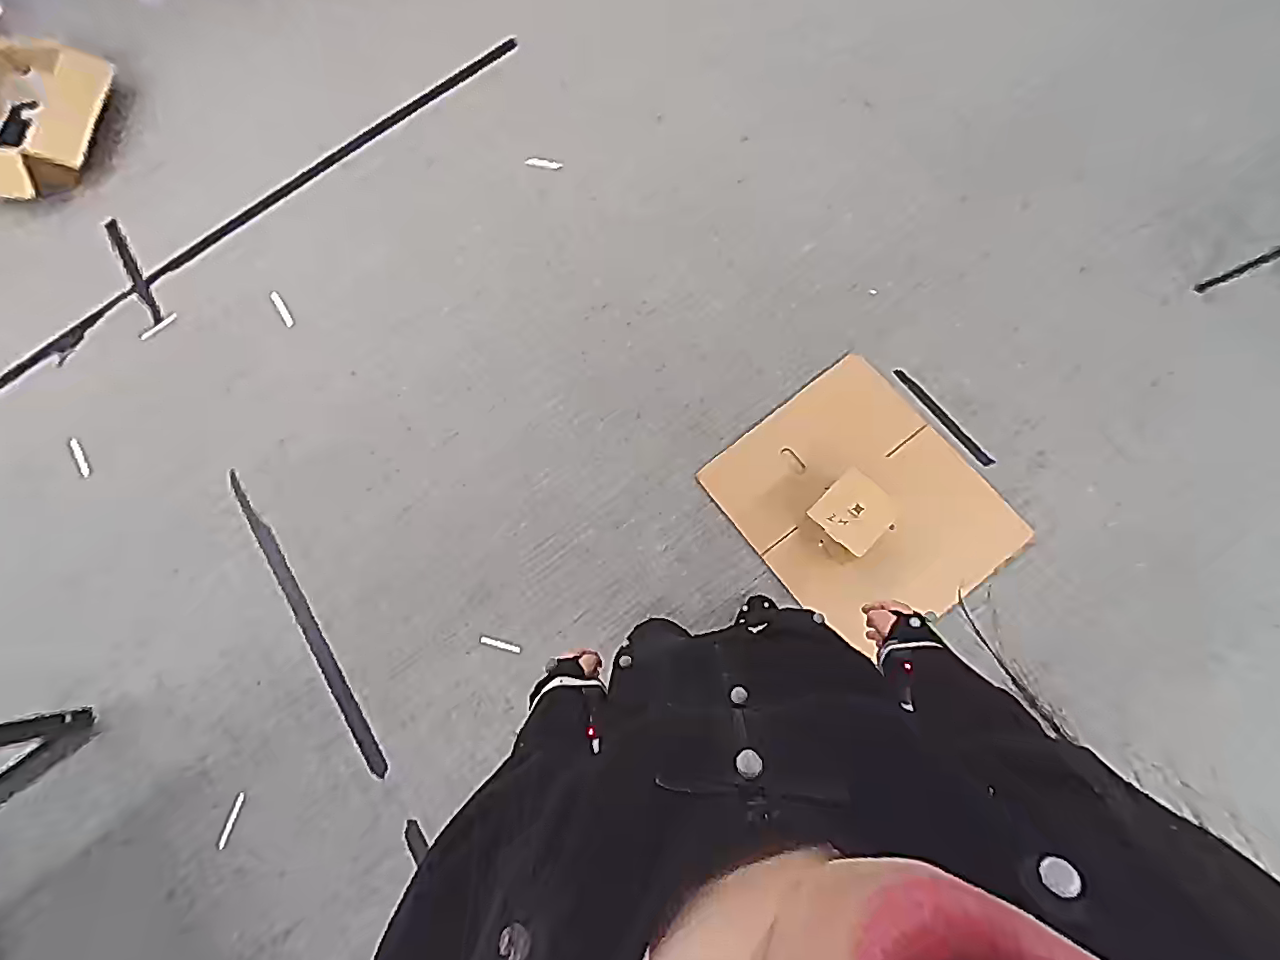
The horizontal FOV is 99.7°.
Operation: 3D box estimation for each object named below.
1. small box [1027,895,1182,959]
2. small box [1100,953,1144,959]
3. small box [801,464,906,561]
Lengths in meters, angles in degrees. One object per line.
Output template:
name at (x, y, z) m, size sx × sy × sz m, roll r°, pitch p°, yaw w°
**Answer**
small box at (0.793, 0.843, 0.903) m, size 0.179 × 0.176 × 0.168 m, roll 12°, pitch 79°, yaw 9°
small box at (0.780, 0.809, 0.743) m, size 0.179 × 0.176 × 0.168 m, roll 13°, pitch 79°, yaw 8°
small box at (0.541, 0.090, 1.401) m, size 0.179 × 0.176 × 0.168 m, roll -45°, pitch 75°, yaw -4°
